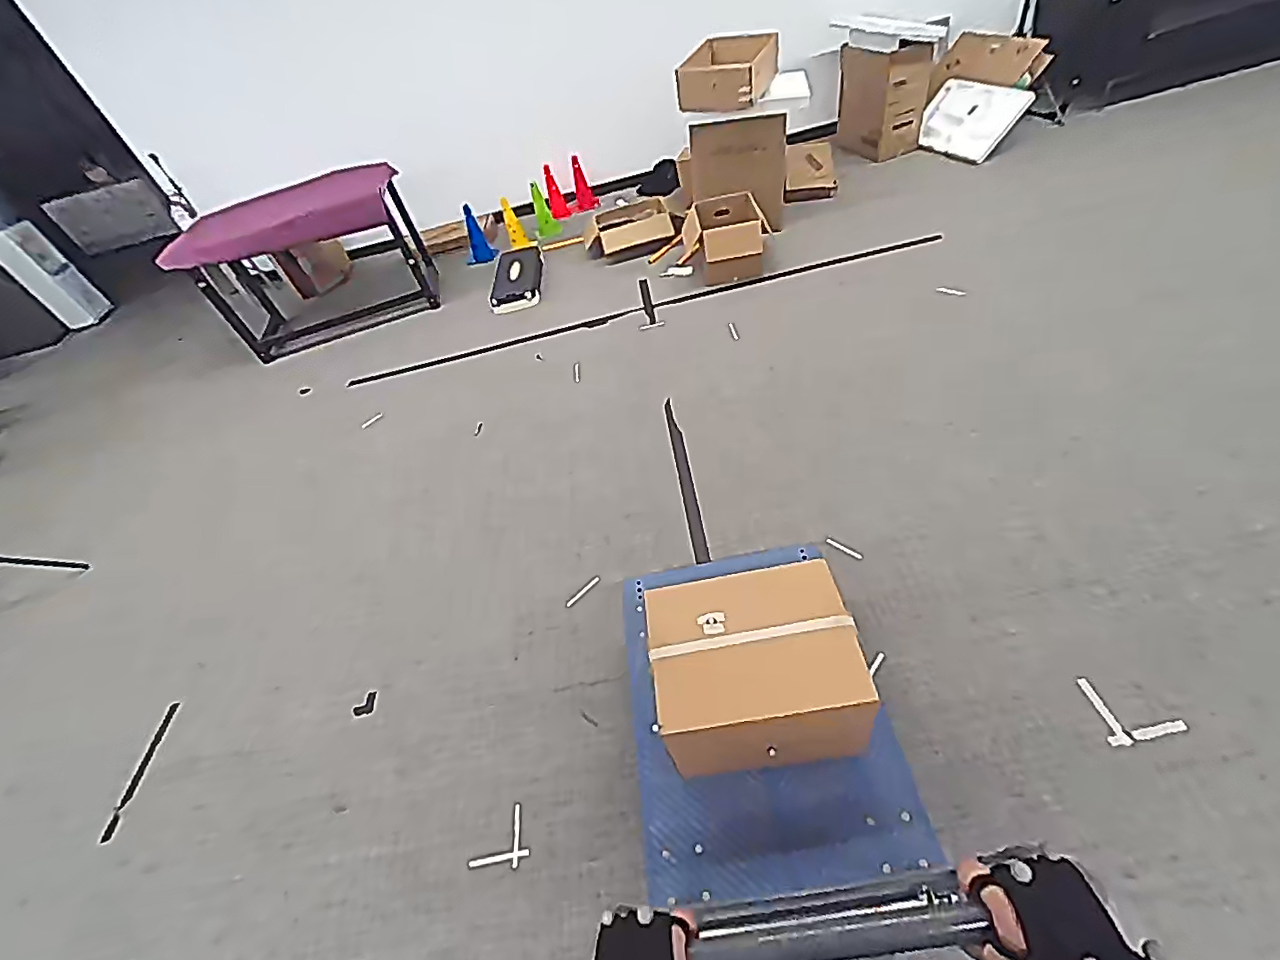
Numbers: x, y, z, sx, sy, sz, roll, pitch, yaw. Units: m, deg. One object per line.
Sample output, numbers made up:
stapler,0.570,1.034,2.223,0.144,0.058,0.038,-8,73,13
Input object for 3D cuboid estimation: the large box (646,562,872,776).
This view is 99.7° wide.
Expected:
large box,0.252,0.432,1.214,0.408,0.320,0.320,-12,45,5
